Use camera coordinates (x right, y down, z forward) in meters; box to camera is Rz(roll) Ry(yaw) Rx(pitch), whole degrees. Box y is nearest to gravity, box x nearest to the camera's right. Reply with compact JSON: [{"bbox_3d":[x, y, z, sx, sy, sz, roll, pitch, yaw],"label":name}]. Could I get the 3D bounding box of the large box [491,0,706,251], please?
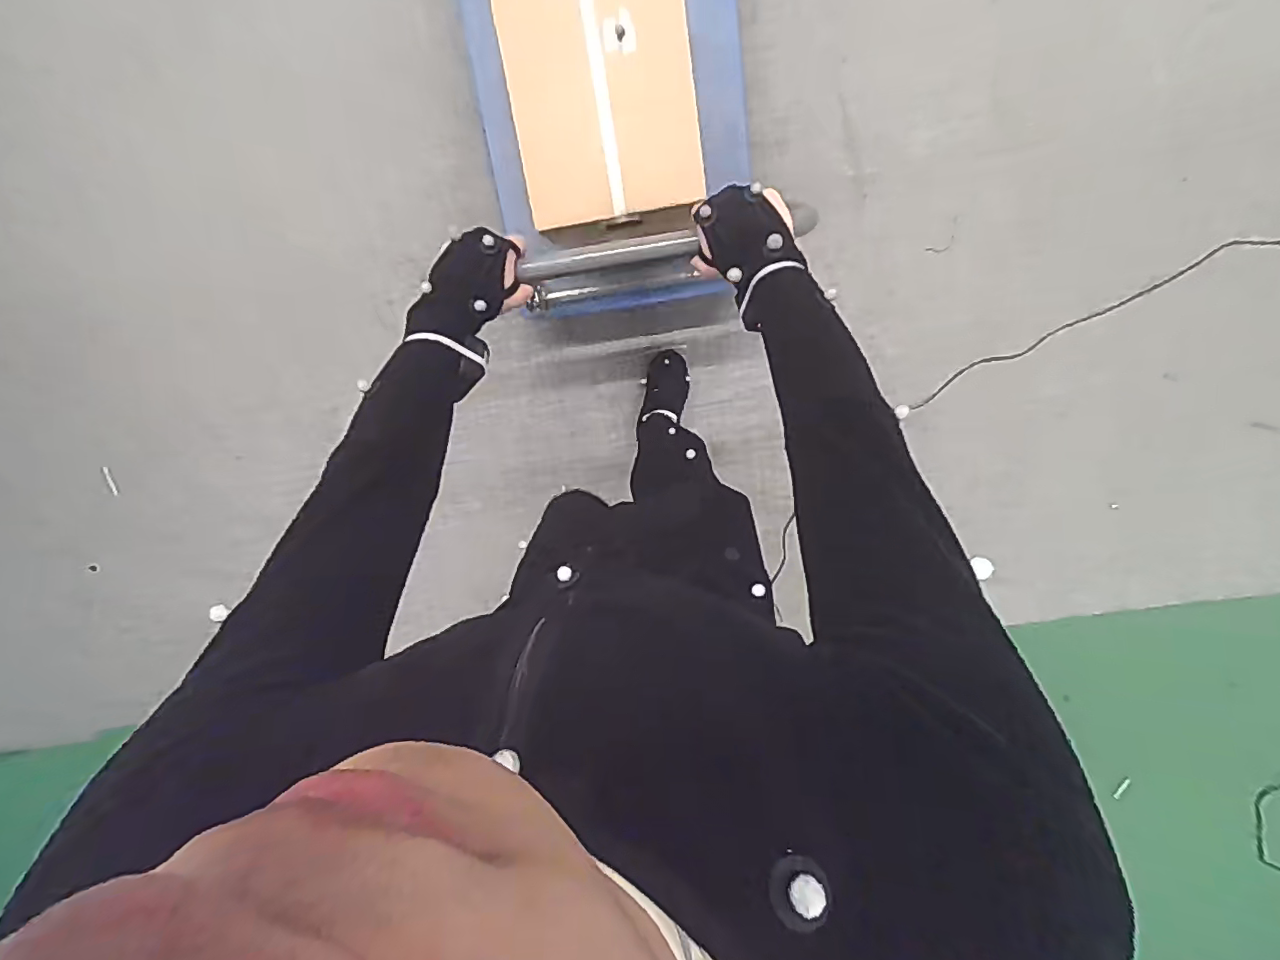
[{"bbox_3d":[-0.057,-0.705,1.058,0.320,0.320,0.408,-8,105,5],"label":"large box"}]
